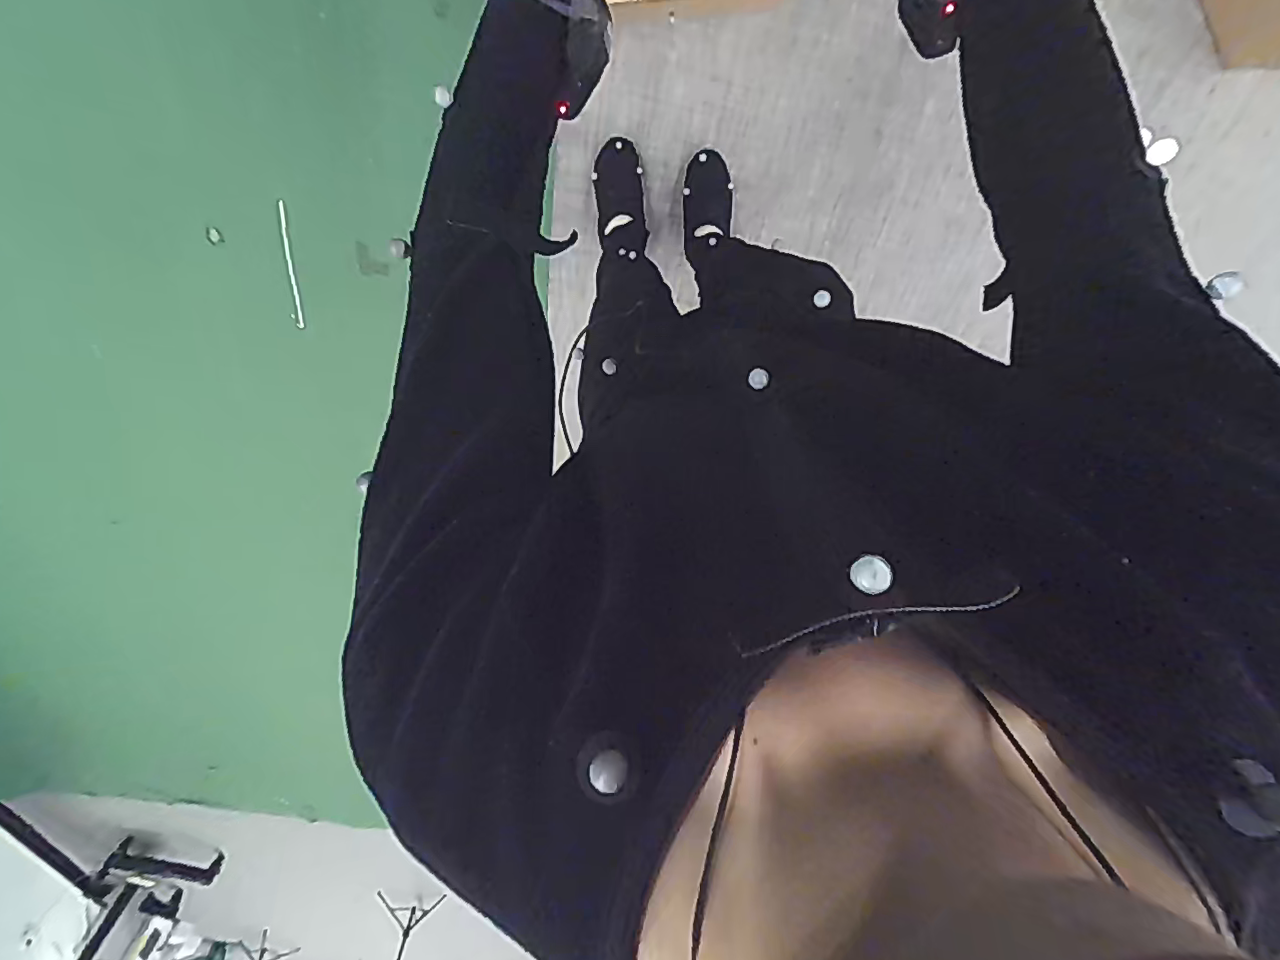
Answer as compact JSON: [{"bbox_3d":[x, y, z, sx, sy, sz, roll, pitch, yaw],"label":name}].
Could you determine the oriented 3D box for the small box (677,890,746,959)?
[{"bbox_3d":[0.209,1.387,1.652,0.168,0.176,0.179,11,123,-4],"label":"small box"}]

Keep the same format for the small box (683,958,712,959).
[{"bbox_3d":[0.198,1.474,1.516,0.179,0.176,0.168,9,123,-3],"label":"small box"}]

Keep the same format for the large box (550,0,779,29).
[{"bbox_3d":[0.054,-0.955,0.867,0.408,0.320,0.320,-2,124,6],"label":"large box"}]
